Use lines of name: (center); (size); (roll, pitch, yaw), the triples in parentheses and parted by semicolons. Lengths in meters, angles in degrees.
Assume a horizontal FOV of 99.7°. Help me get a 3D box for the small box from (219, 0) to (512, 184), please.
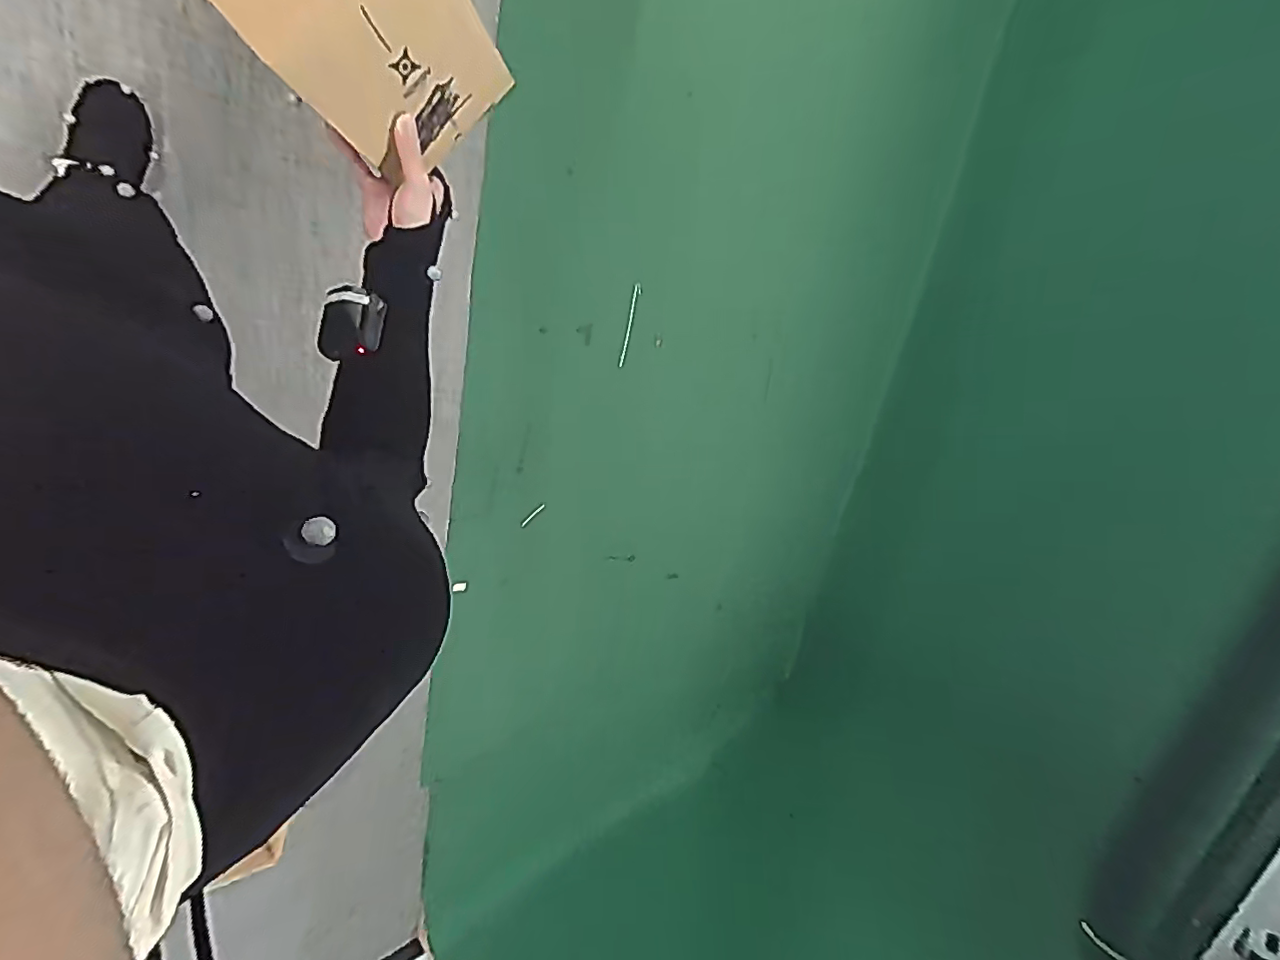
small box: (-0.256, -0.427, 0.489); (0.168, 0.176, 0.179); (-43, 168, 6)
